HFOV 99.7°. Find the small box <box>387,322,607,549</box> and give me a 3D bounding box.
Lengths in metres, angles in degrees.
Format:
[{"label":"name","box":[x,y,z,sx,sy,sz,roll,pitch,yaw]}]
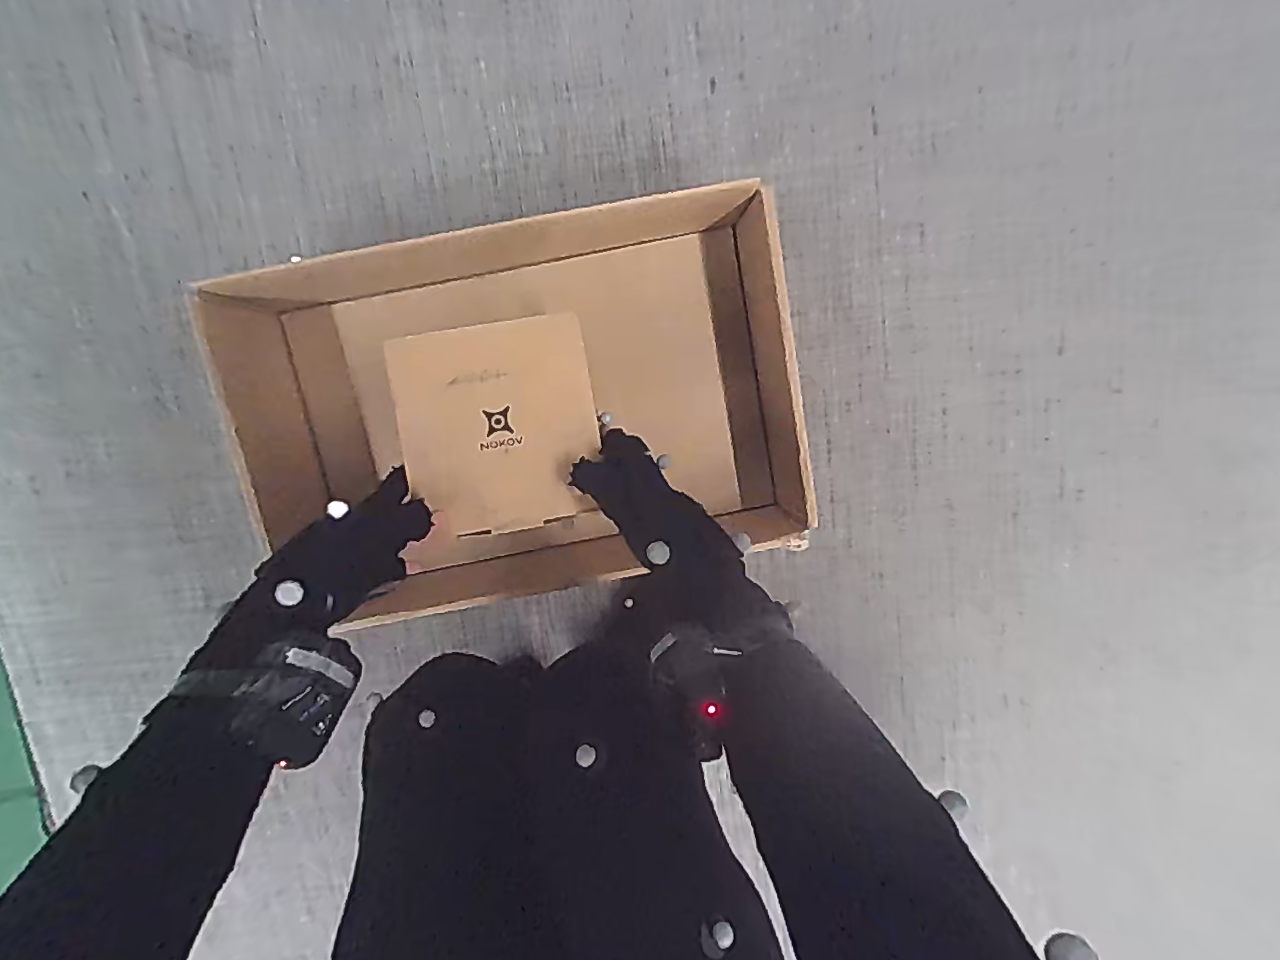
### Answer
[{"label":"small box","box":[-0.126,-0.039,0.542,0.168,0.176,0.179,-10,90,-4]}]
